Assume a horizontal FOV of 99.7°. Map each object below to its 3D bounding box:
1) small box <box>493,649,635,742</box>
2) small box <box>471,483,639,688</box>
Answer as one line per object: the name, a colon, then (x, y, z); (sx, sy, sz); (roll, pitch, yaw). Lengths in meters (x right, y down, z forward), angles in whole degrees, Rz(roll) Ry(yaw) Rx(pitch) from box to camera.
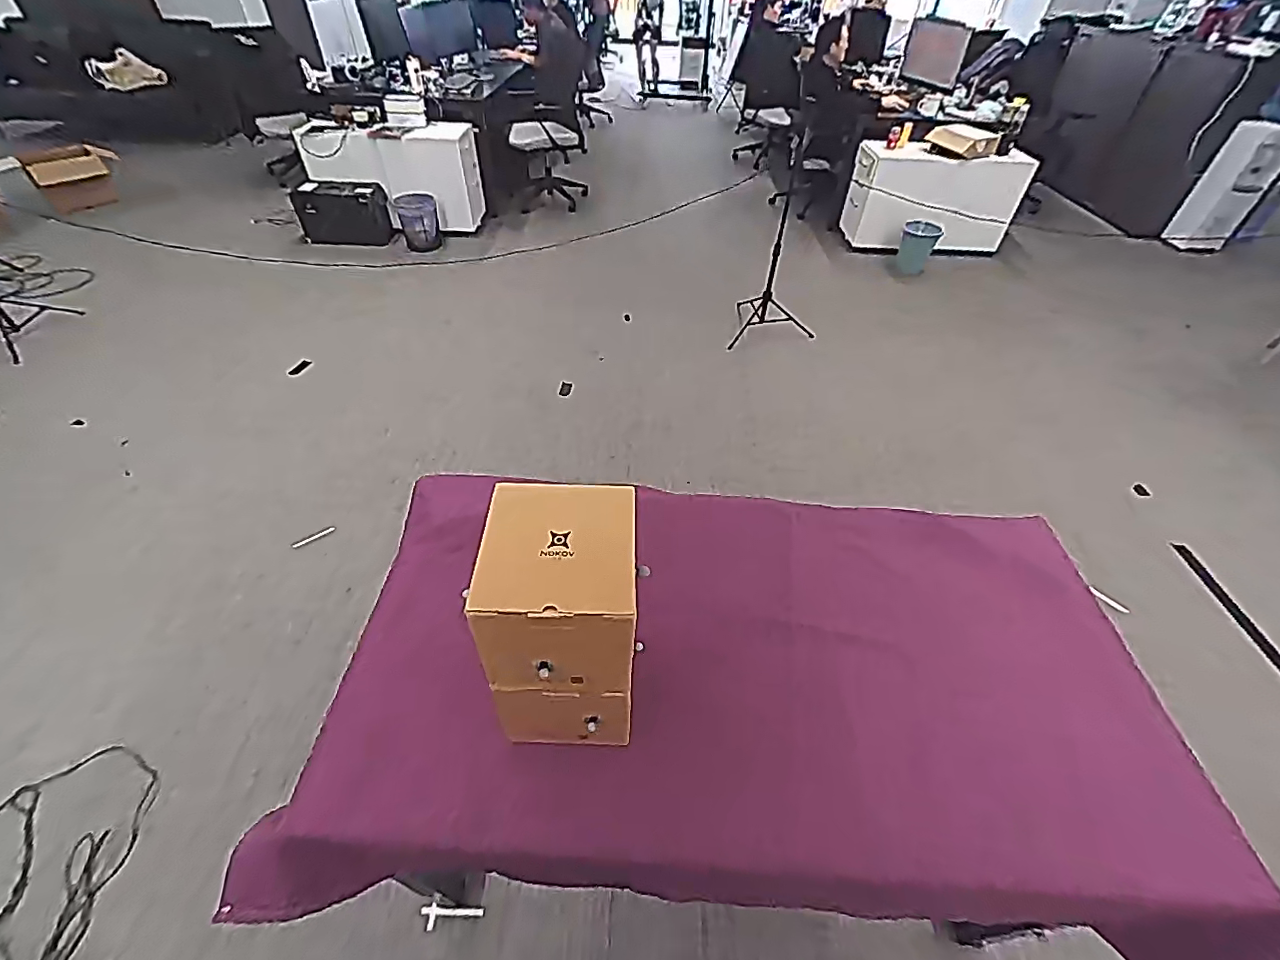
small box: (-0.091, 0.244, 0.747); (0.168, 0.176, 0.179); (3, 45, 0)
small box: (-0.088, 0.125, 0.637); (0.168, 0.176, 0.179); (2, 46, -3)
